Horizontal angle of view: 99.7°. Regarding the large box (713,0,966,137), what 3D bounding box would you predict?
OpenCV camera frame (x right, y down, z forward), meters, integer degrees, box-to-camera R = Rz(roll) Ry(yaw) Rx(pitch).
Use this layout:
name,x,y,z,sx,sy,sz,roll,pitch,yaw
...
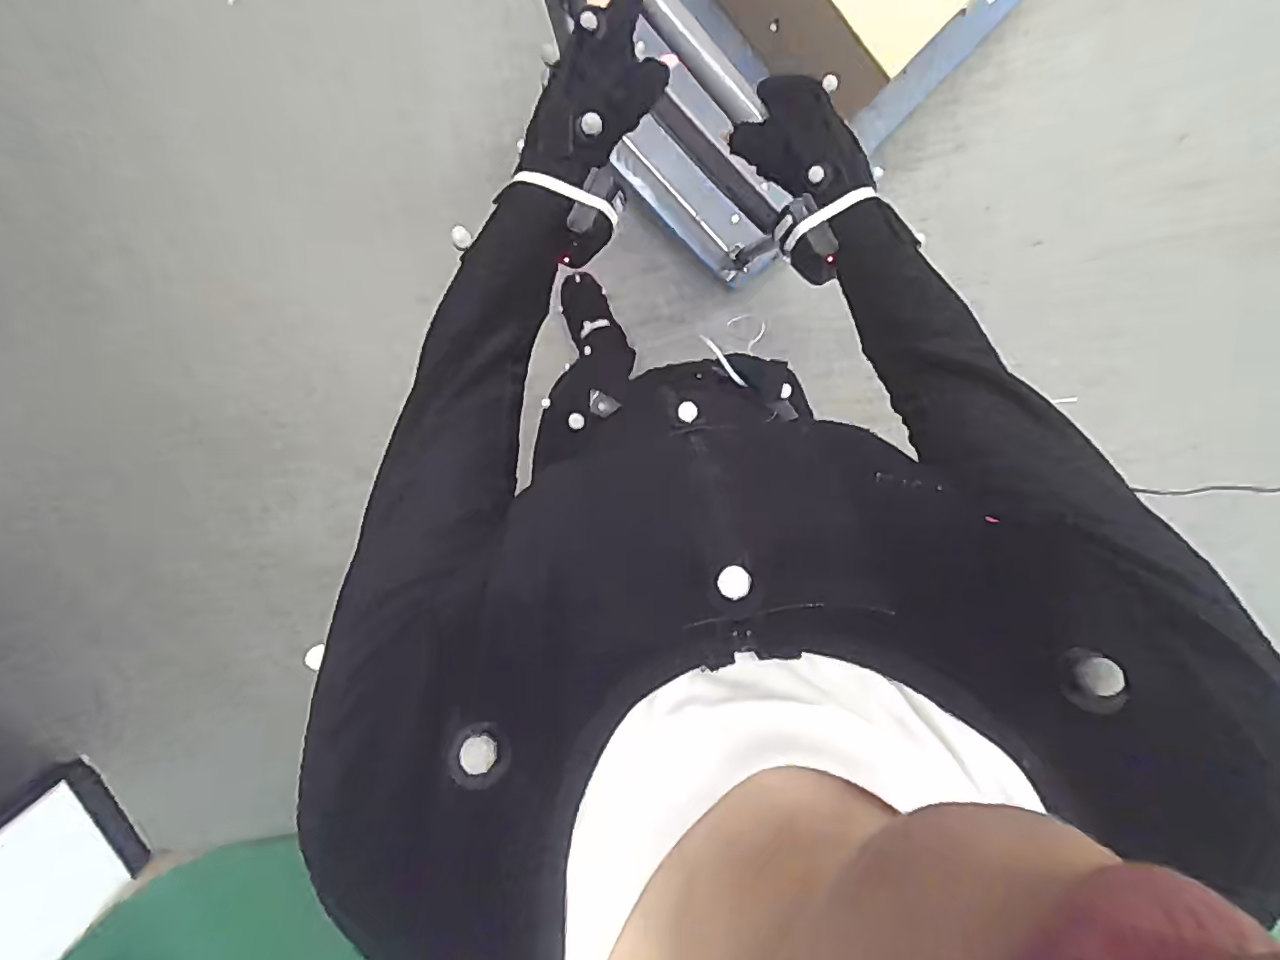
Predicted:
name,x,y,z,sx,sy,sz,roll,pitch,yaw
large box,0.338,-0.870,0.871,0.320,0.320,0.408,-44,100,13
